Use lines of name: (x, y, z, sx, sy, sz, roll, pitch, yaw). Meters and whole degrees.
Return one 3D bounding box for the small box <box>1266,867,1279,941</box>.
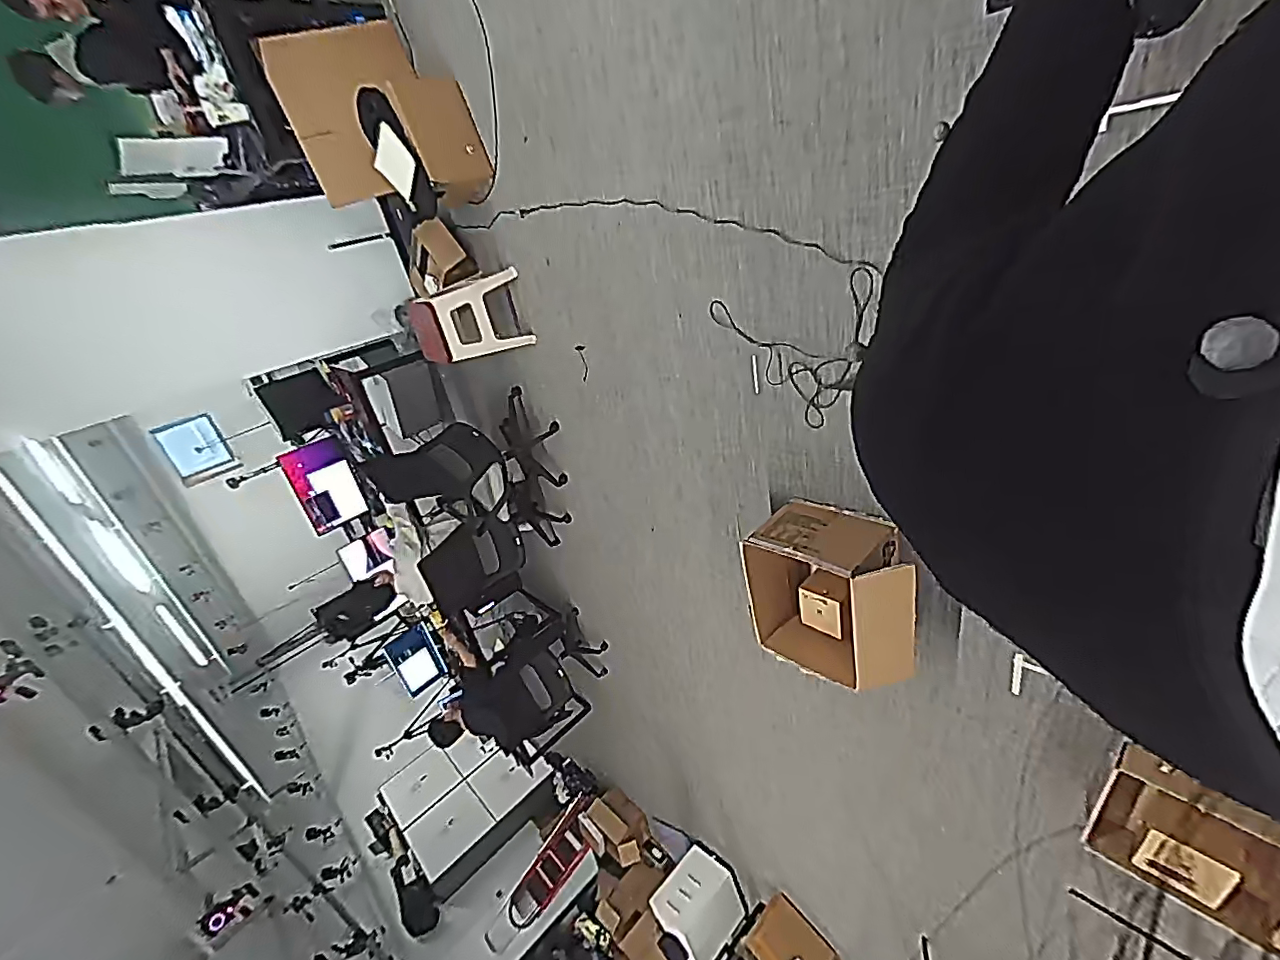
small box: (1.632, 1.023, 1.263, 0.179, 0.176, 0.168, 23, 132, 43)
